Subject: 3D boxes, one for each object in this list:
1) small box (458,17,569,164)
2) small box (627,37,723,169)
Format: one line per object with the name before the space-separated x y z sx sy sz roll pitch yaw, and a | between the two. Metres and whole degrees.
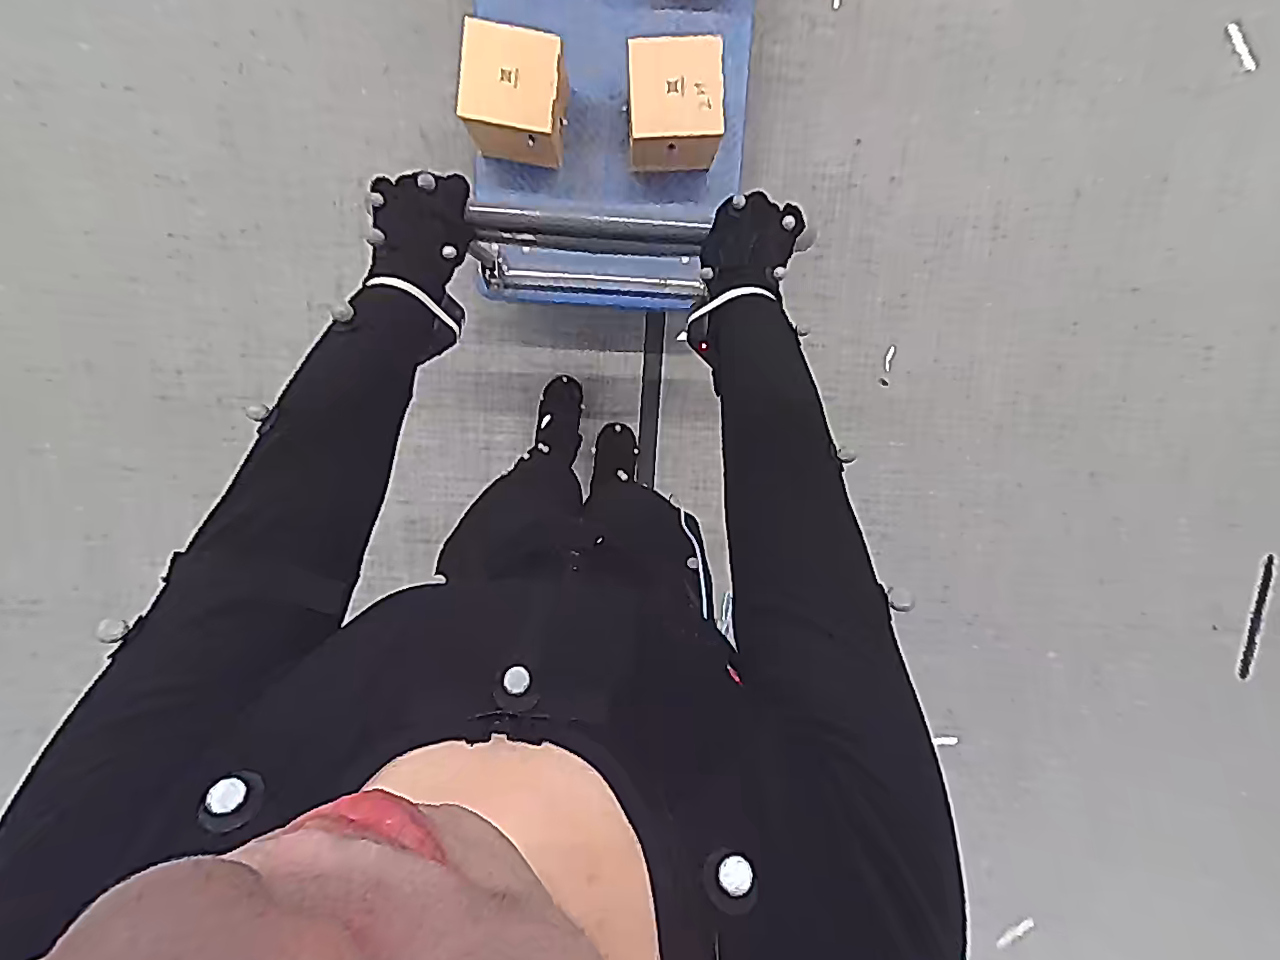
small box | -0.241 -0.751 1.064 0.179 0.176 0.168 8 100 -5
small box | 0.065 -0.739 1.076 0.179 0.176 0.168 -3 101 -1
